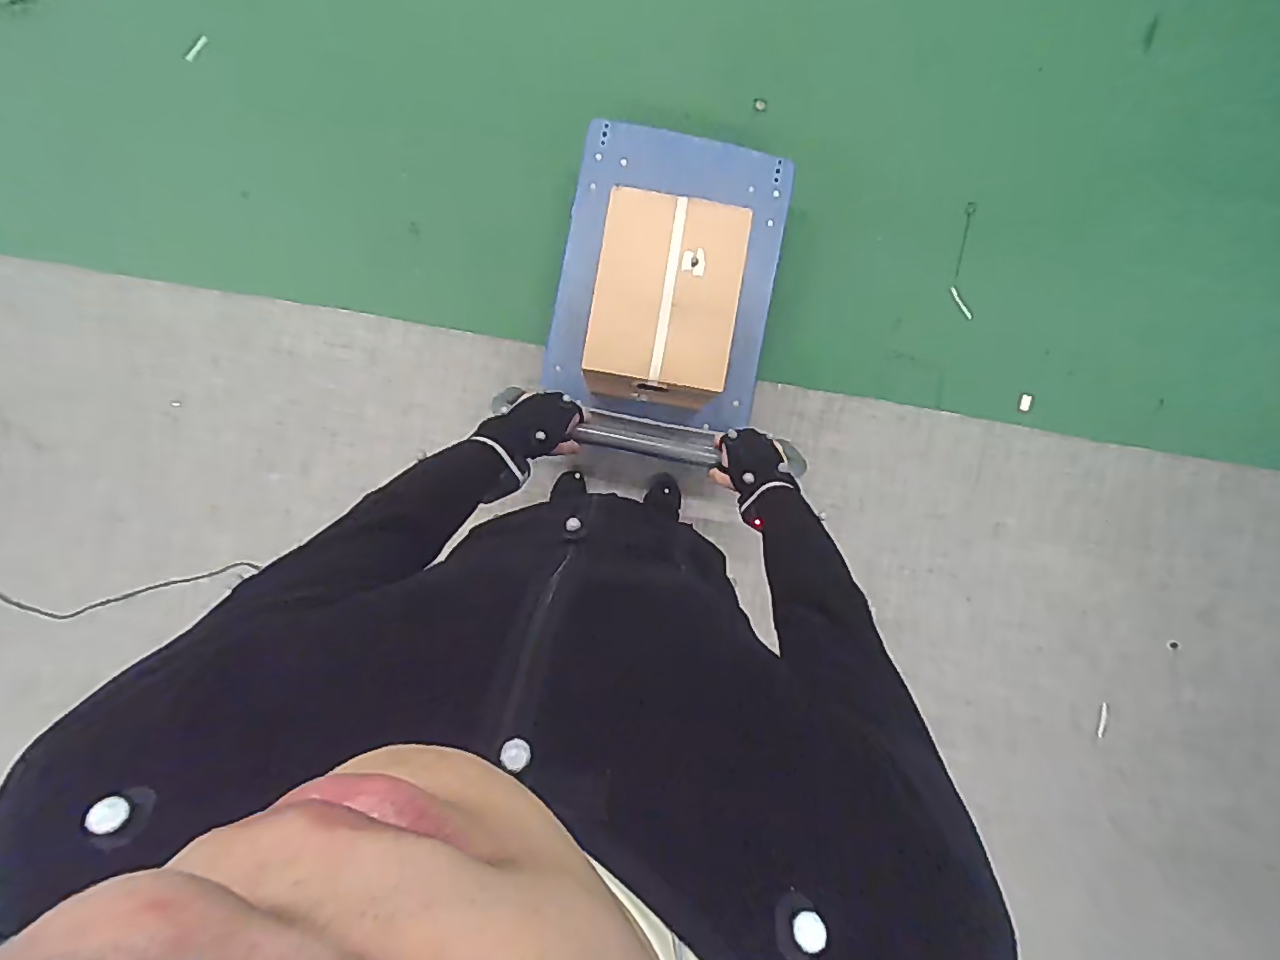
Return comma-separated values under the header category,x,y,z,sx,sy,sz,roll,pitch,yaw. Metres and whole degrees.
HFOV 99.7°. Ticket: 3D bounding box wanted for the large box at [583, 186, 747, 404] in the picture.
category,x,y,z,sx,sy,sz,roll,pitch,yaw
large box,0.052,-0.420,1.322,0.320,0.320,0.408,9,90,-2
